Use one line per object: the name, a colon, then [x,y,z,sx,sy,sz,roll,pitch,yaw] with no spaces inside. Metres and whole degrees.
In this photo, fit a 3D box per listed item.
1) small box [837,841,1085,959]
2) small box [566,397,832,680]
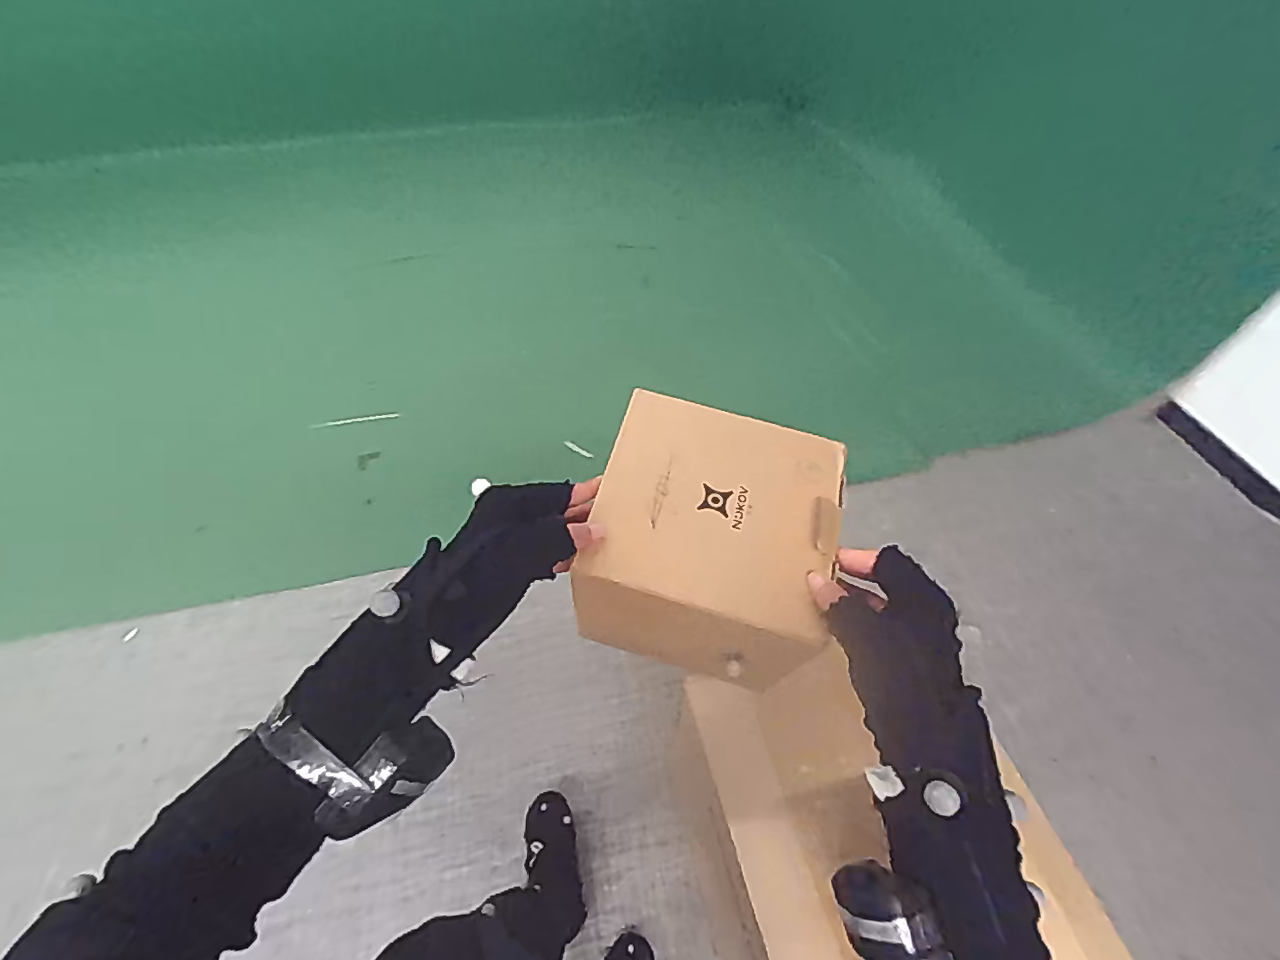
small box: [0.321,0.489,0.541,0.168,0.176,0.179,-13,53,-4]
small box: [0.046,0.060,0.466,0.179,0.176,0.168,13,58,4]
